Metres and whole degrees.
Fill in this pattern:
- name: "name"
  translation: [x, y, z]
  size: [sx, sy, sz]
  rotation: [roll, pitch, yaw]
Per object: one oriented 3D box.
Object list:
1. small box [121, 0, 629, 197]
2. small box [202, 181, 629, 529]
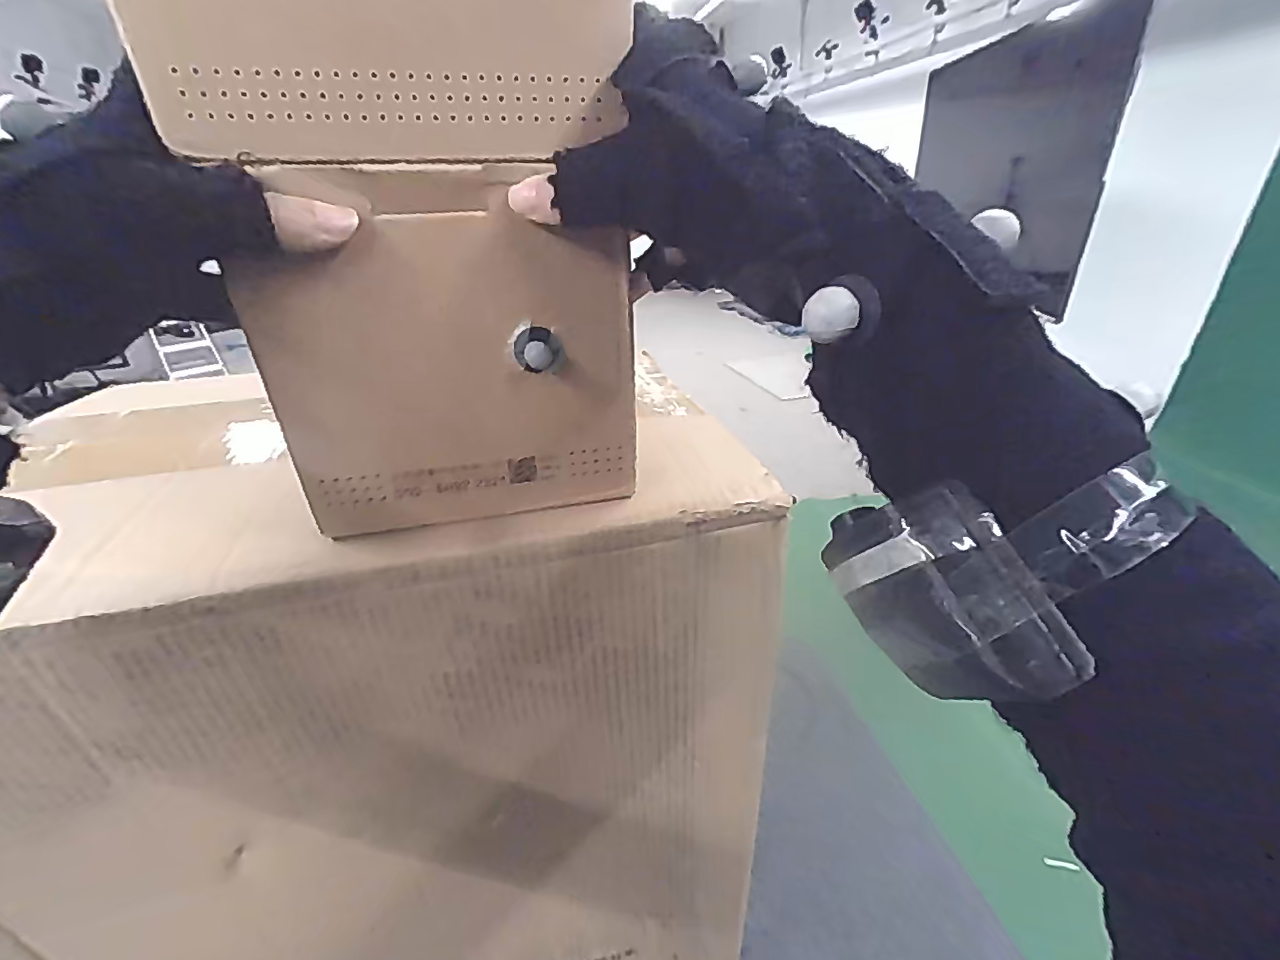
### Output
- name: "small box"
  translation: [-0.104, -0.224, 0.244]
  size: [0.179, 0.176, 0.168]
  rotation: [-7, 31, -14]
- name: "small box"
  translation: [-0.103, -0.082, 0.327]
  size: [0.168, 0.176, 0.179]
  rotation: [-7, 29, -11]
